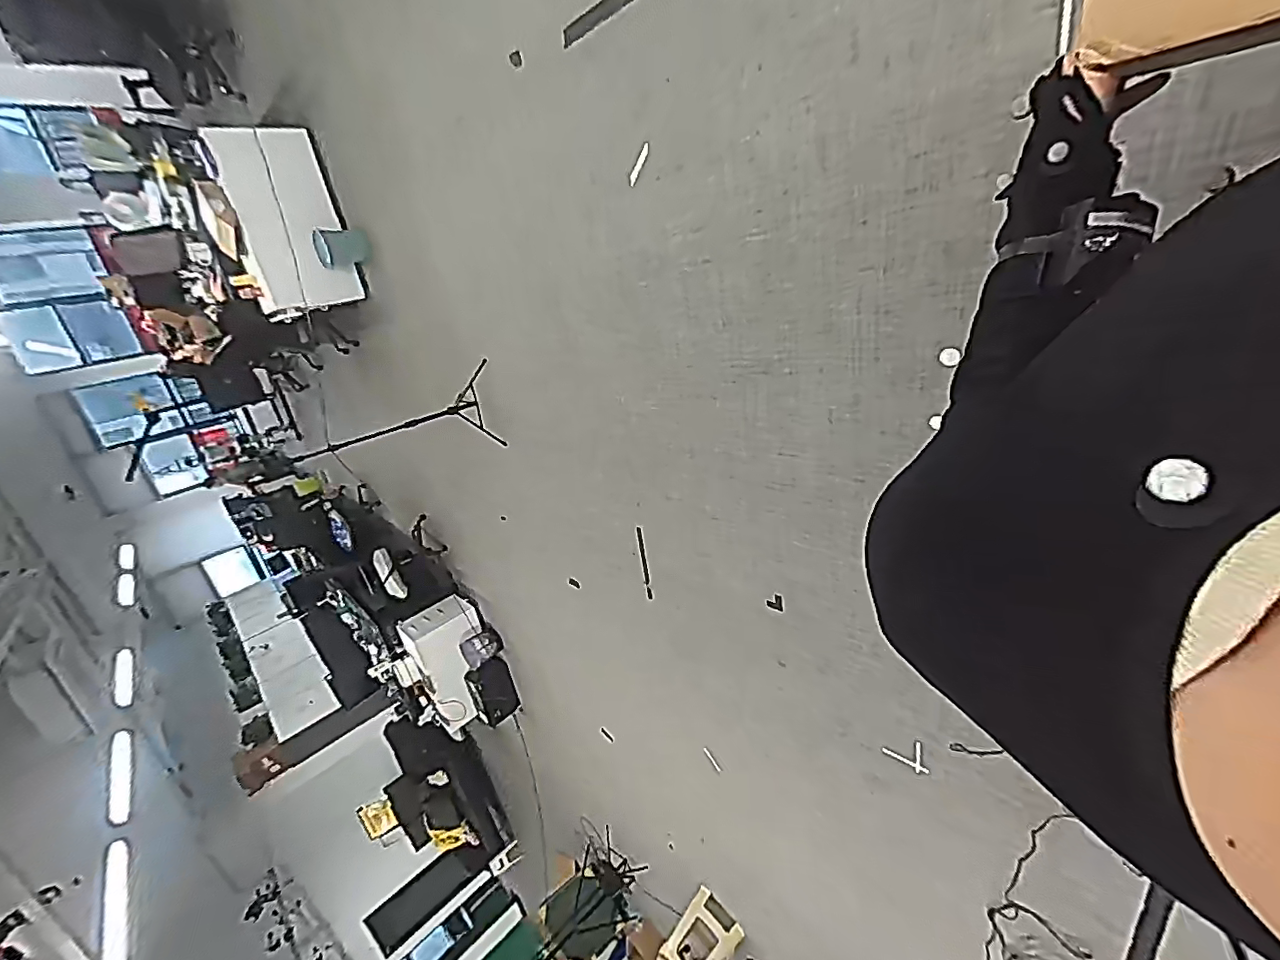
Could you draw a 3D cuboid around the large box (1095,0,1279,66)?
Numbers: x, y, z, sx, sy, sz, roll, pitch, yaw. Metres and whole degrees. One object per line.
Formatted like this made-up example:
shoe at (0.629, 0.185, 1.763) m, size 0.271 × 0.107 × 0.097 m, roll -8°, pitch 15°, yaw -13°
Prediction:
large box at (0.392, -0.357, 0.127) m, size 0.408 × 0.320 × 0.320 m, roll 10°, pitch 125°, yaw 40°
